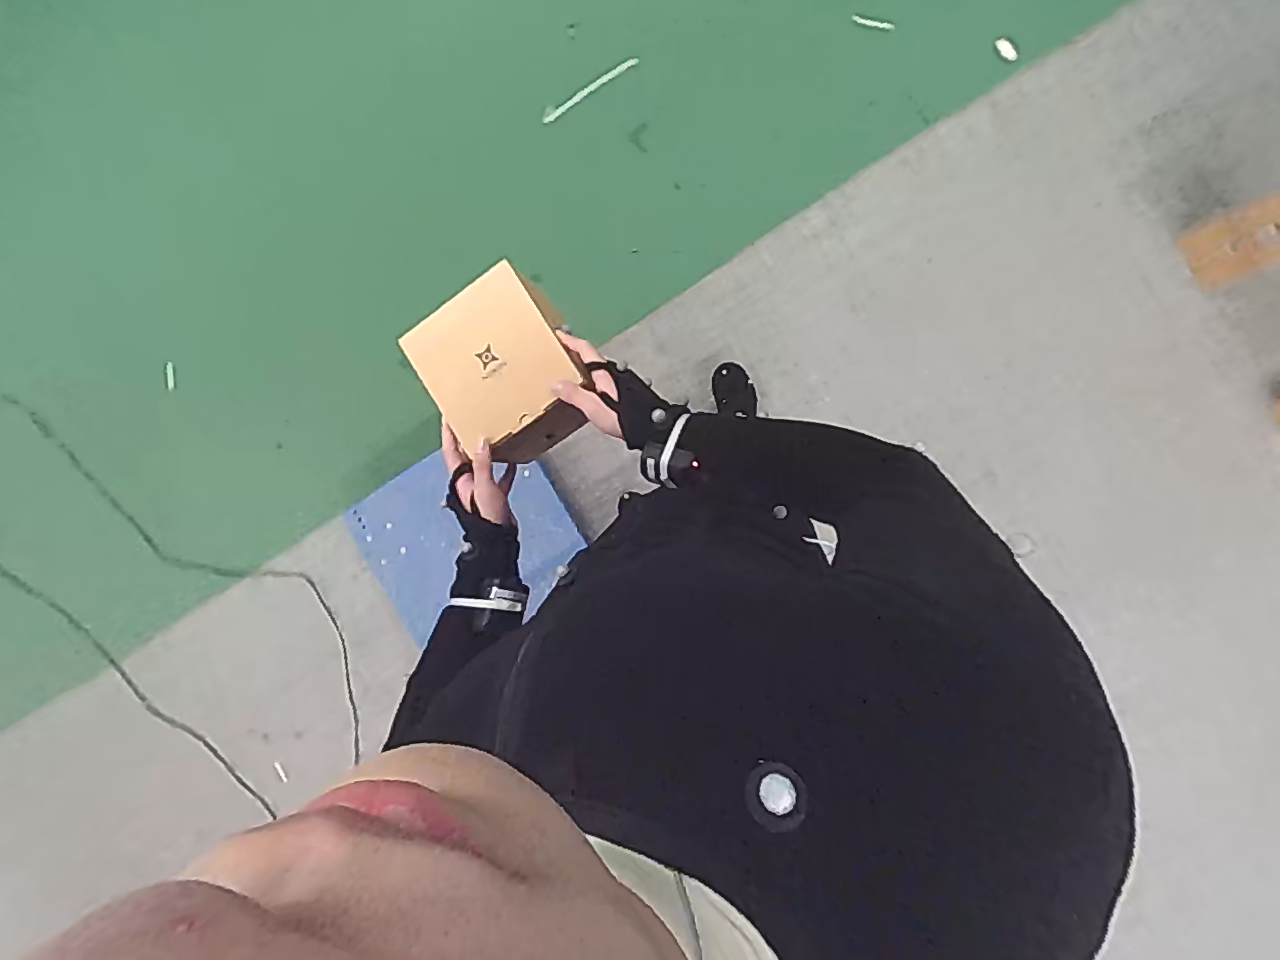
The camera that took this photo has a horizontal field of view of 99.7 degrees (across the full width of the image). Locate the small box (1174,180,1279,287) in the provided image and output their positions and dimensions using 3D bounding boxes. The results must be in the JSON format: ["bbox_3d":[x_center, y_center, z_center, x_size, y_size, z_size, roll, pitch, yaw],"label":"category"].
[{"bbox_3d":[1.553,-0.630,1.393,0.168,0.176,0.179,-26,91,6],"label":"small box"}]

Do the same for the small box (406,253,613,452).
[{"bbox_3d":[-0.155,-0.148,0.700,0.168,0.176,0.179,-32,88,8],"label":"small box"}]

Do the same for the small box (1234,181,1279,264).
[{"bbox_3d":[1.533,-0.625,1.230,0.179,0.176,0.168,-27,90,7],"label":"small box"}]

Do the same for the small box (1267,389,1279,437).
[{"bbox_3d":[1.809,-0.187,1.389,0.179,0.176,0.168,-20,89,7],"label":"small box"}]
